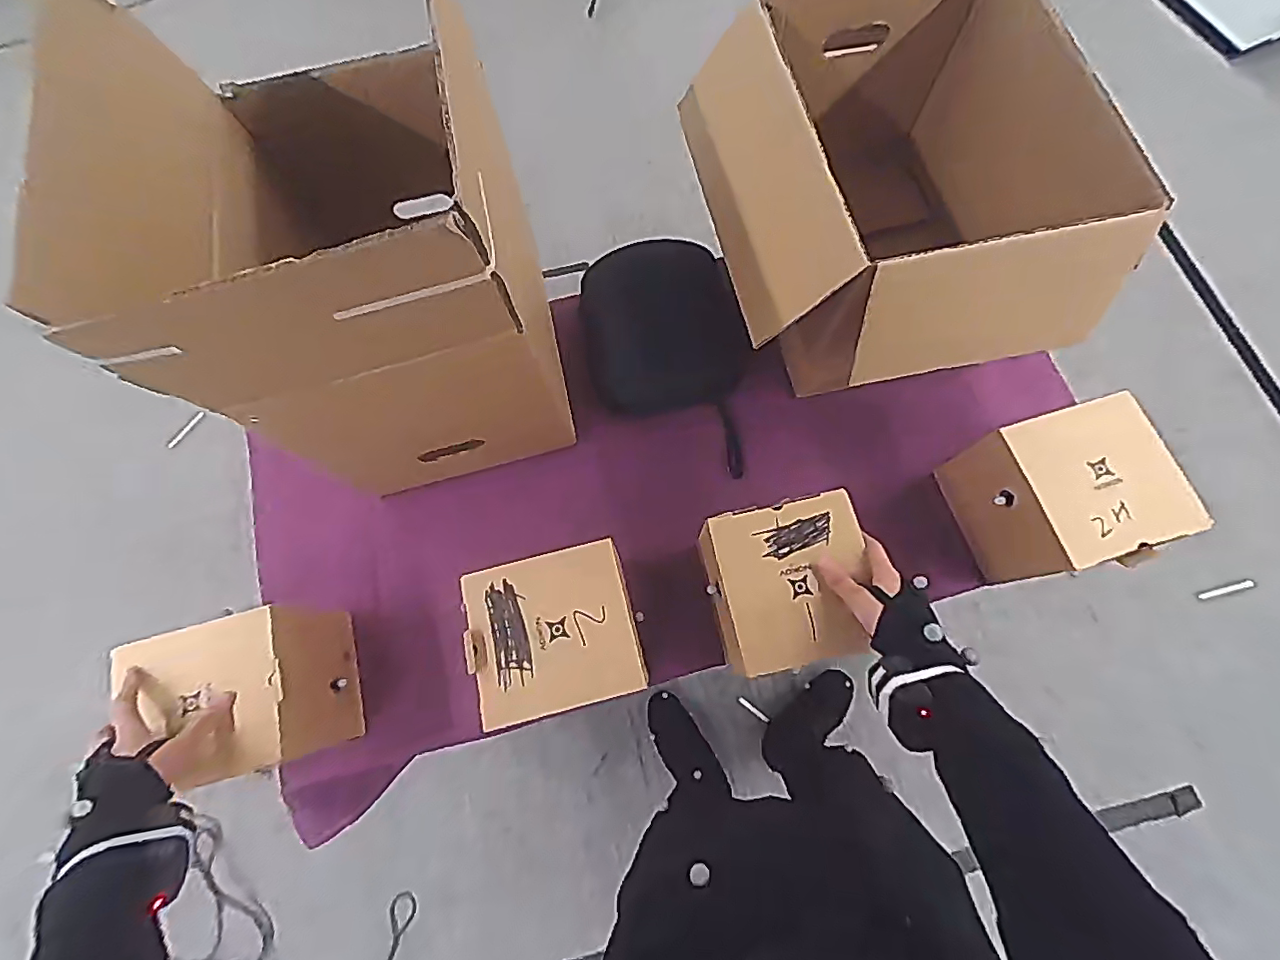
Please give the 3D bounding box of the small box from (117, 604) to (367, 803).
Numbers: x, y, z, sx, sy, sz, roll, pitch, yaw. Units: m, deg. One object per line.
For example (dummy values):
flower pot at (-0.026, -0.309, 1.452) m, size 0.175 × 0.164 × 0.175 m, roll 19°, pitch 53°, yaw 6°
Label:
small box at (-0.461, 0.256, 0.649) m, size 0.179 × 0.176 × 0.168 m, roll -15°, pitch 73°, yaw -4°

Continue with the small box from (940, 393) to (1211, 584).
small box at (0.521, 0.020, 0.682) m, size 0.168 × 0.176 × 0.179 m, roll -17°, pitch 73°, yaw -2°
